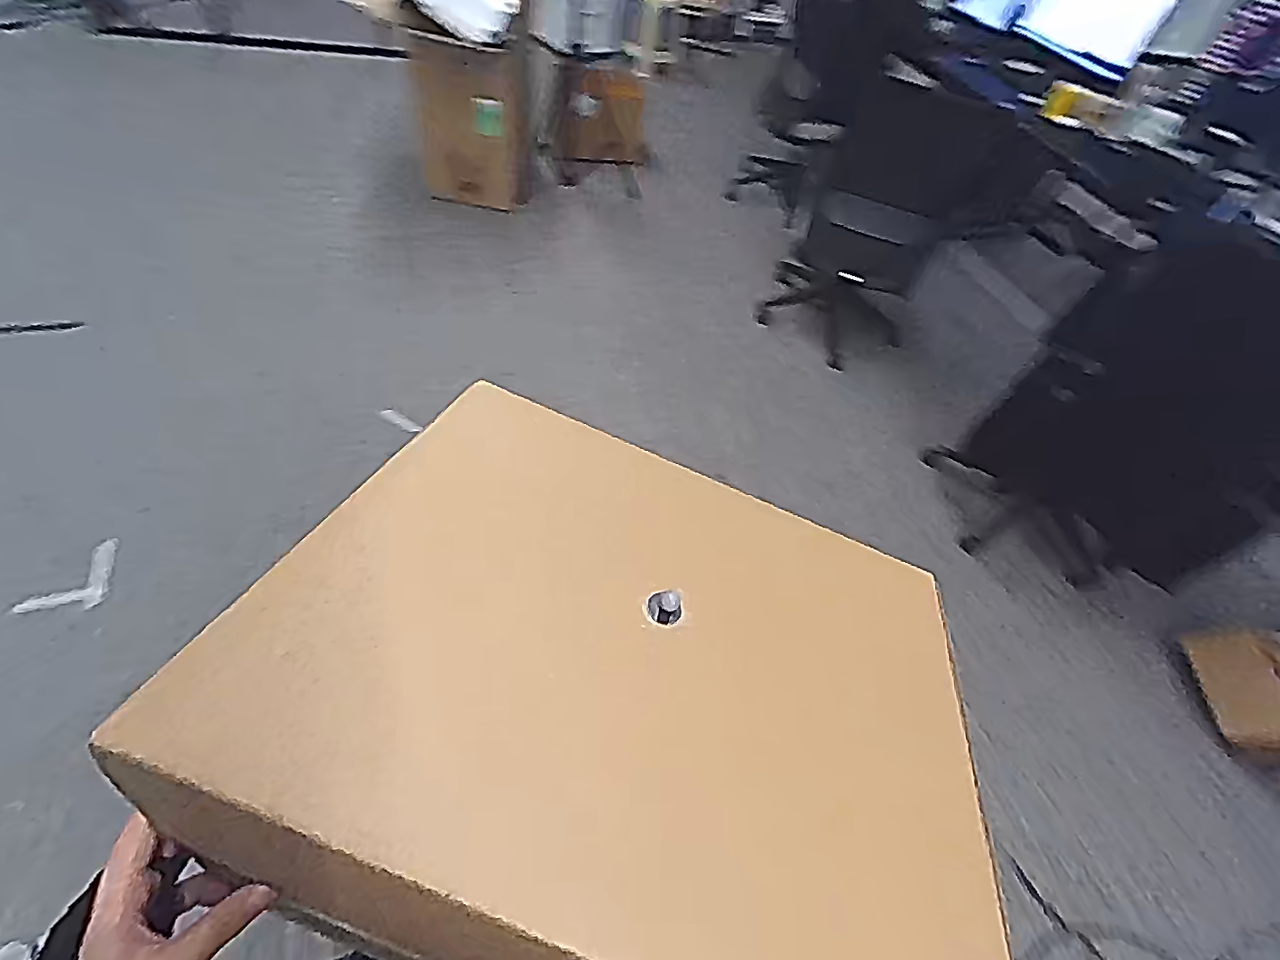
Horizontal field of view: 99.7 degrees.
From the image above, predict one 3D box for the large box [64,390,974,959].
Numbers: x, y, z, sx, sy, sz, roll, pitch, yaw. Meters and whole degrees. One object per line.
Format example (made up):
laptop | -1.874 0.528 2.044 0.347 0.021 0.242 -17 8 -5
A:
large box | -0.050 0.184 0.421 0.408 0.320 0.320 20 43 0
